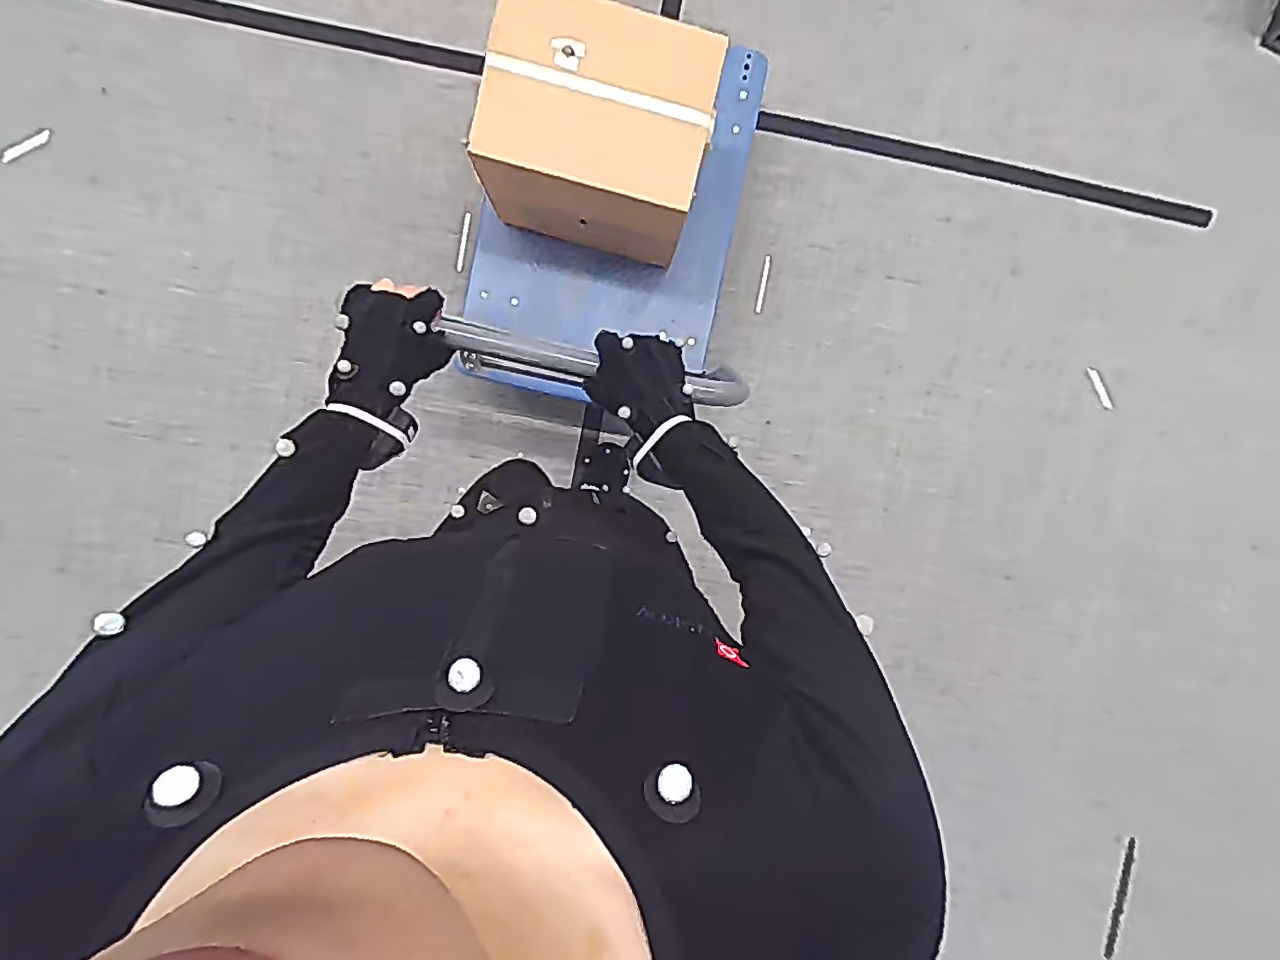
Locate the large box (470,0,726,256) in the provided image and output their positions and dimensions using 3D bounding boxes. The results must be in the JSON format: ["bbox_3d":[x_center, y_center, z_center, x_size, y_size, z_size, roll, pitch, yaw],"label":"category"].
[{"bbox_3d":[-0.077,-0.694,1.094,0.408,0.320,0.320,14,93,-4],"label":"large box"}]
